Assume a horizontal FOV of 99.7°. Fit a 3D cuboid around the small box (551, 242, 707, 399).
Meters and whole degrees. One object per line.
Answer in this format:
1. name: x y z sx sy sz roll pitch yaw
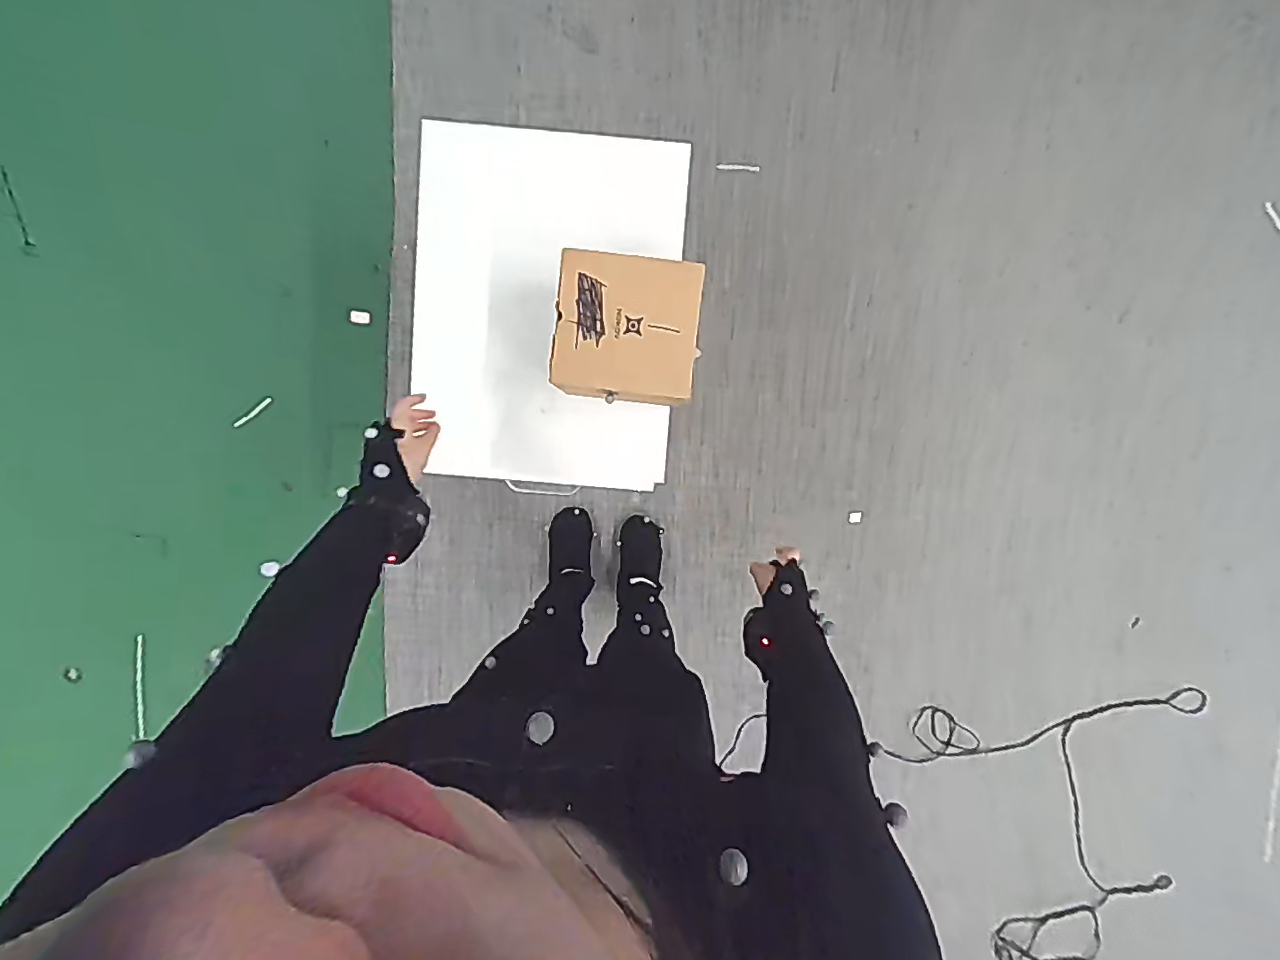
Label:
1. small box: -0.015 -0.206 0.742 0.179 0.176 0.168 7 95 -2
